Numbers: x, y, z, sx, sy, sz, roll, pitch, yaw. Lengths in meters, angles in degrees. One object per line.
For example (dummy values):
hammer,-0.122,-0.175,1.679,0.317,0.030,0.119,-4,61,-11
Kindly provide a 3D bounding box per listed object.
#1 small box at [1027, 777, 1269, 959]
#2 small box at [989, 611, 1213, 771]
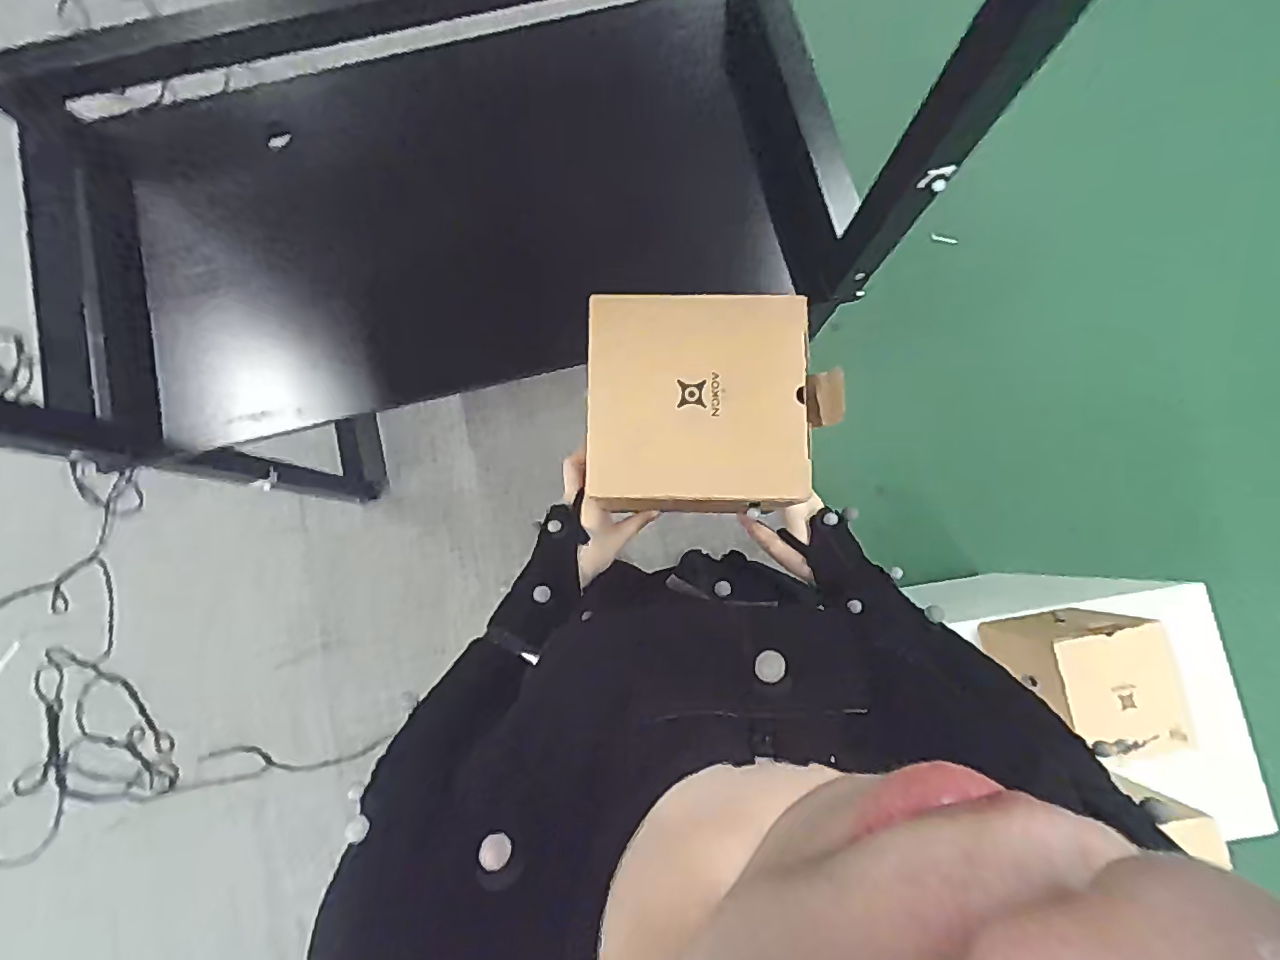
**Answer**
small box,0.690,0.540,0.761,0.168,0.176,0.179,-8,82,0
small box,0.658,0.295,0.798,0.168,0.176,0.179,-11,82,0
